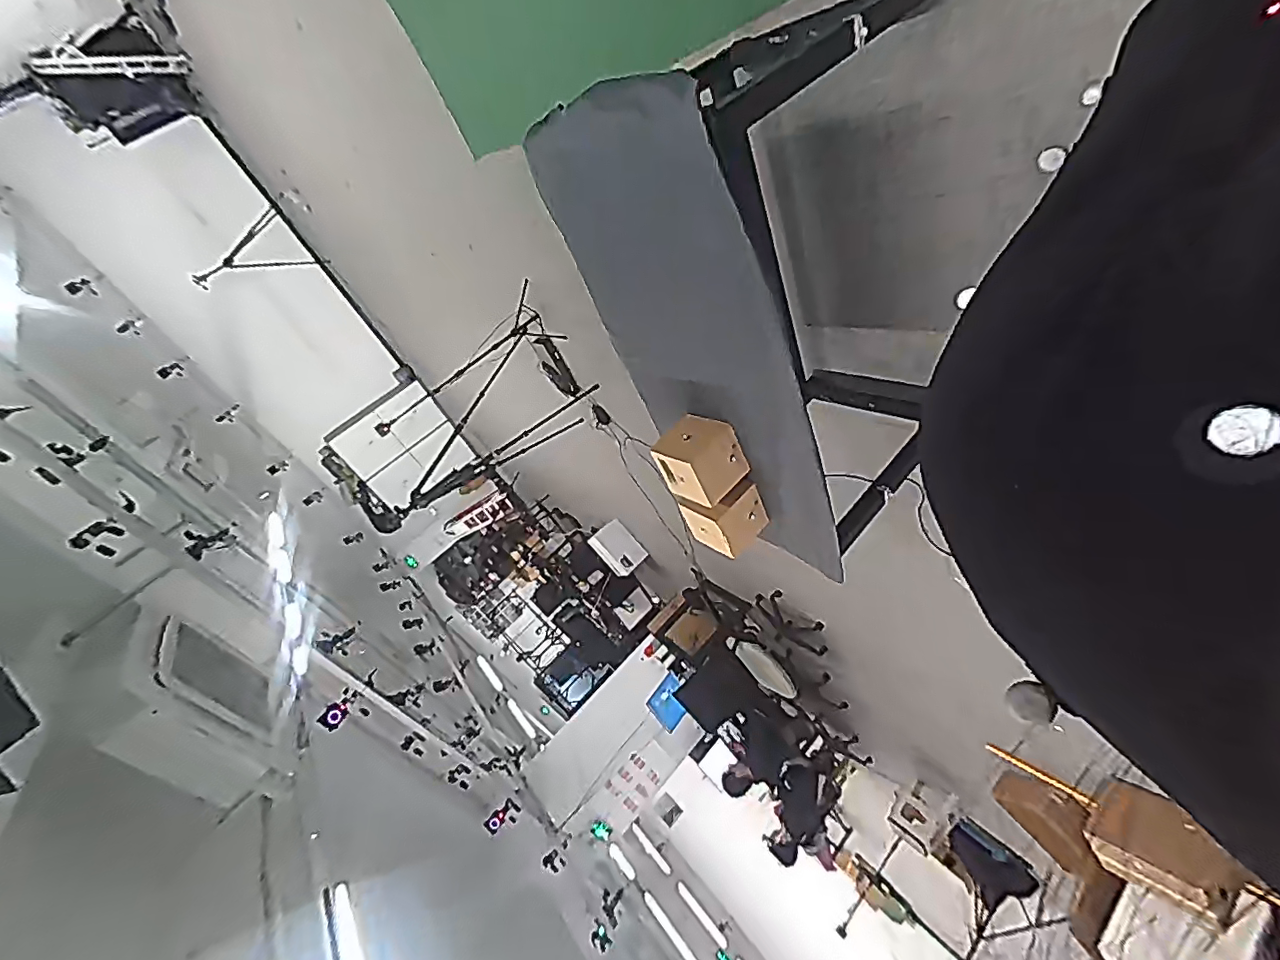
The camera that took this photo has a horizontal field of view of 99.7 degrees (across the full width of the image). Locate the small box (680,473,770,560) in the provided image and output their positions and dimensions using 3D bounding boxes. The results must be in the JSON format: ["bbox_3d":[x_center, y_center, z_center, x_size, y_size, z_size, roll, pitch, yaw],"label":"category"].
[{"bbox_3d":[0.256,0.100,1.613,0.179,0.176,0.168,25,151,49],"label":"small box"}]
